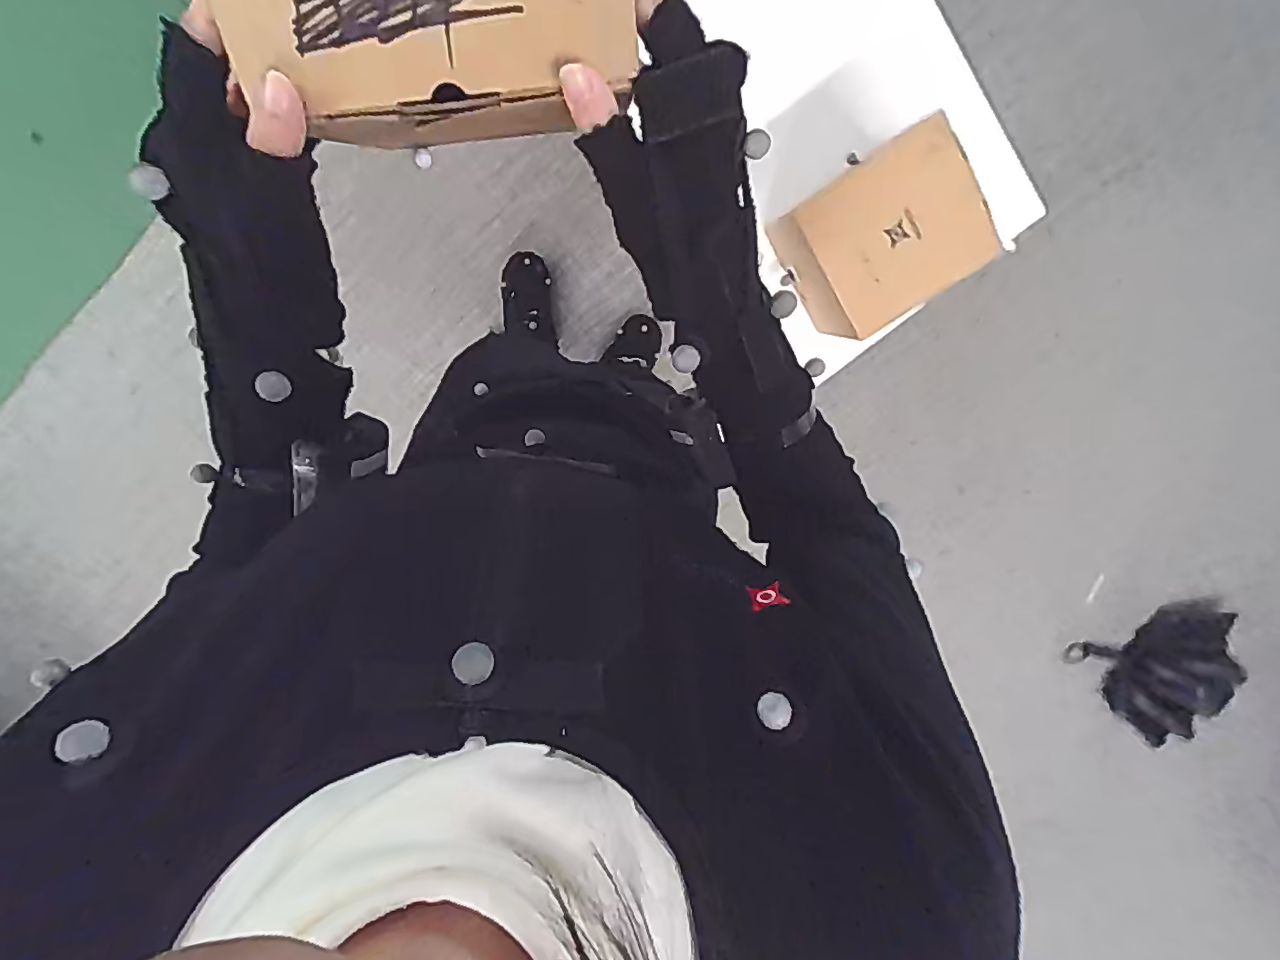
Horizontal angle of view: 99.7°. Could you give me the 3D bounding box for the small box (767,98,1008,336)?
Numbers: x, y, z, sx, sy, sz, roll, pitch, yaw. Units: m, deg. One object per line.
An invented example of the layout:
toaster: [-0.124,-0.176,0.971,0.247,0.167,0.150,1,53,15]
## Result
small box: [0.275,-0.294,0.640,0.179,0.176,0.168,-32,104,12]

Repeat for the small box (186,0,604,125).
small box: [-0.107,-0.282,0.258,0.168,0.176,0.179,-7,117,-2]
